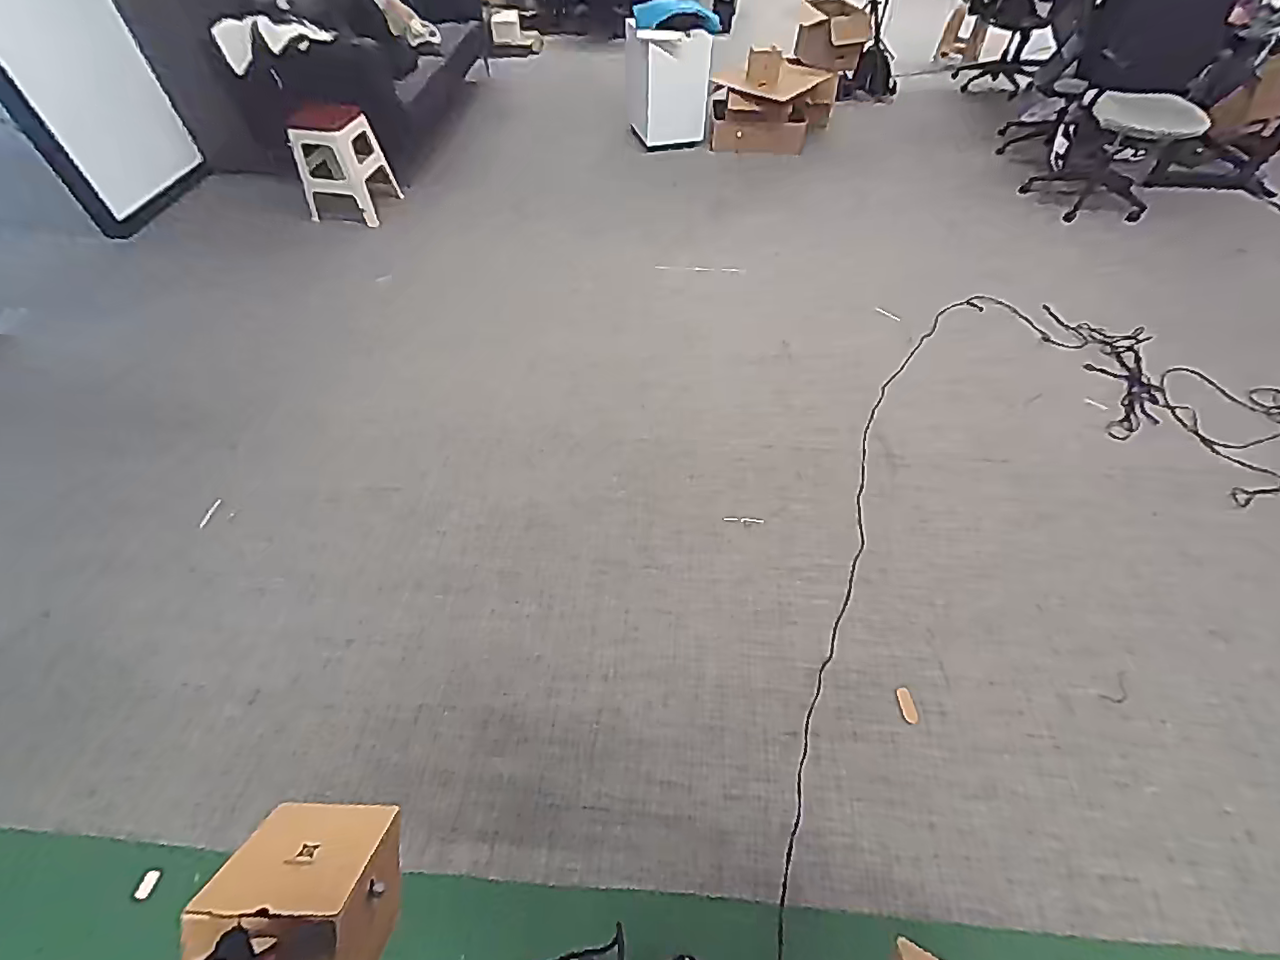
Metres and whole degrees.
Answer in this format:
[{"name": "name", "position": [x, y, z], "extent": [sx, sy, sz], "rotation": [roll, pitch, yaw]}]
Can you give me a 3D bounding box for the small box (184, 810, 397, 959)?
[{"name": "small box", "position": [-0.421, 0.550, 0.674], "extent": [0.168, 0.179, 0.176], "rotation": [3, 95, -3]}]
